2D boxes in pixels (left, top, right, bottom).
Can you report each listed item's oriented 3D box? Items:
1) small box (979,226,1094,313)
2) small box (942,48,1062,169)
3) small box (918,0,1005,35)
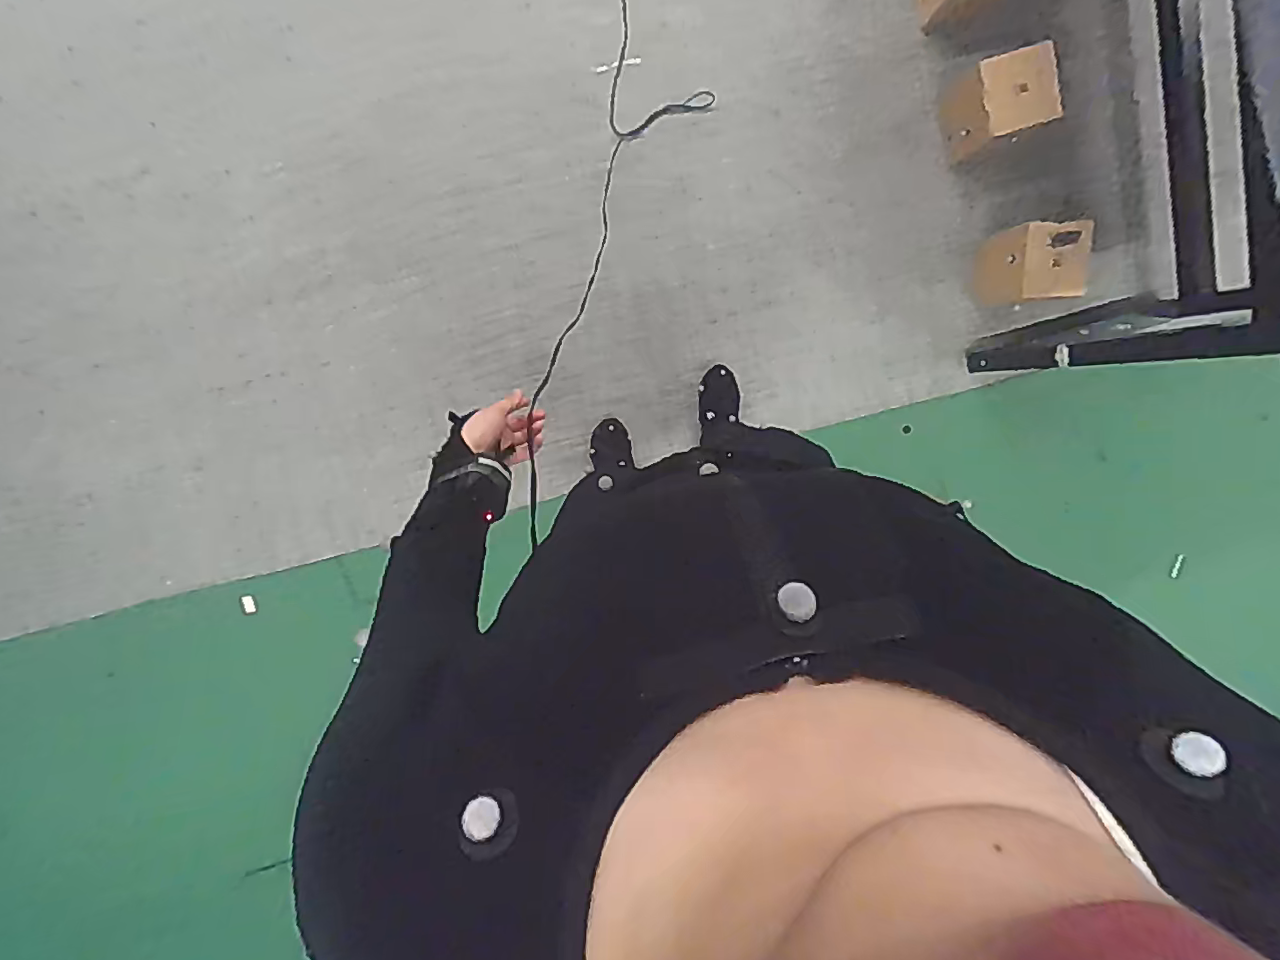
[{"bbox_3d":[0.996,-0.528,1.371,0.168,0.176,0.179,-2,100,-2],"label":"small box"},{"bbox_3d":[0.863,-0.888,1.311,0.179,0.176,0.168,-18,100,-1],"label":"small box"},{"bbox_3d":[0.770,-1.188,1.263,0.179,0.176,0.168,-11,99,-2],"label":"small box"}]
